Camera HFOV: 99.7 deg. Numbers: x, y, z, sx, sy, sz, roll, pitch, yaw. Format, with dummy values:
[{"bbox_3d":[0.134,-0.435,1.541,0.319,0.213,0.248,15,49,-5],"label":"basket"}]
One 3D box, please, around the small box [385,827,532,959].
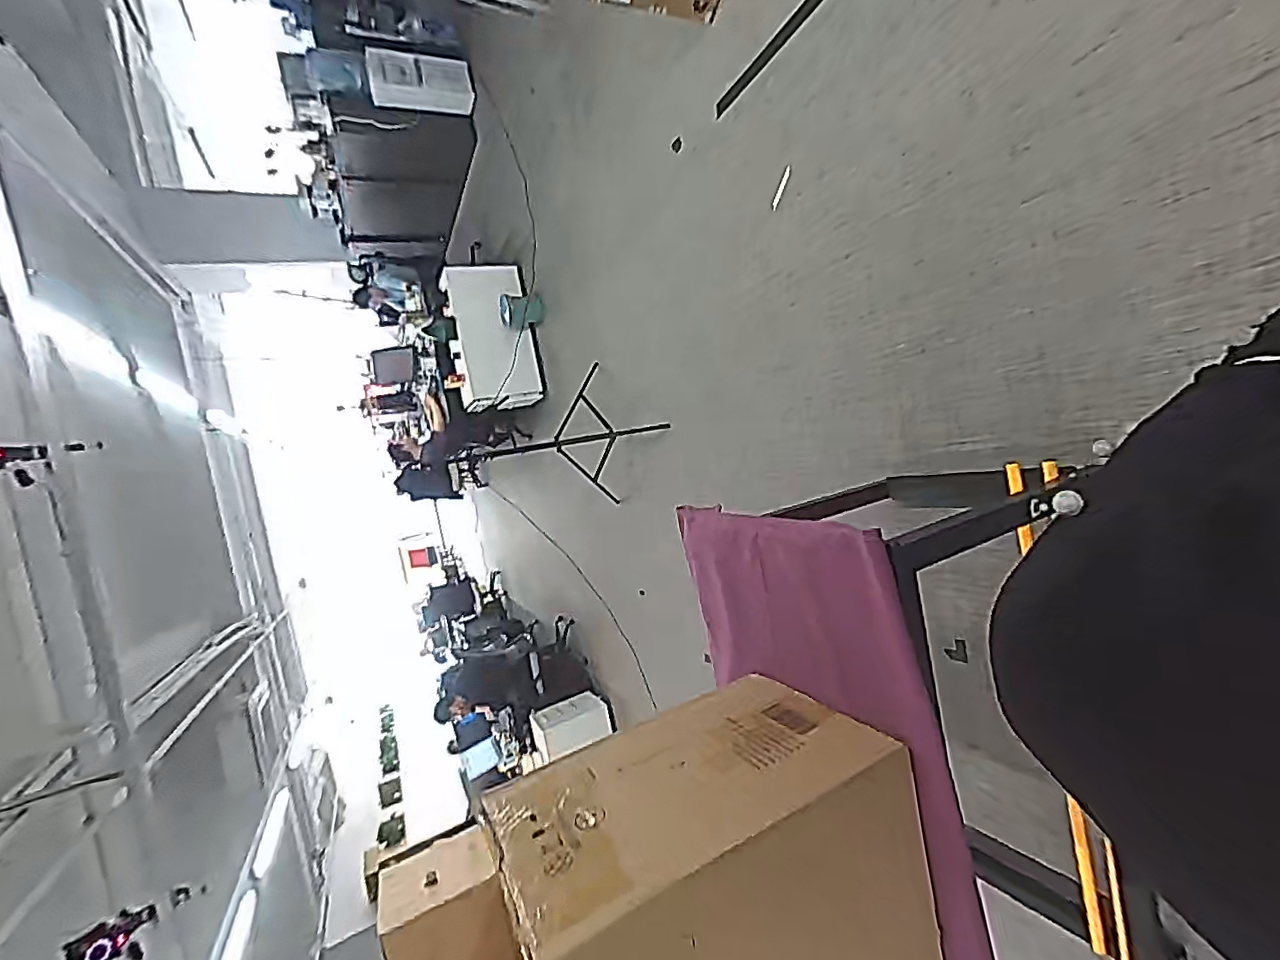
[{"bbox_3d":[-0.282,0.686,0.835,0.168,0.176,0.179,-16,90,64],"label":"small box"}]
